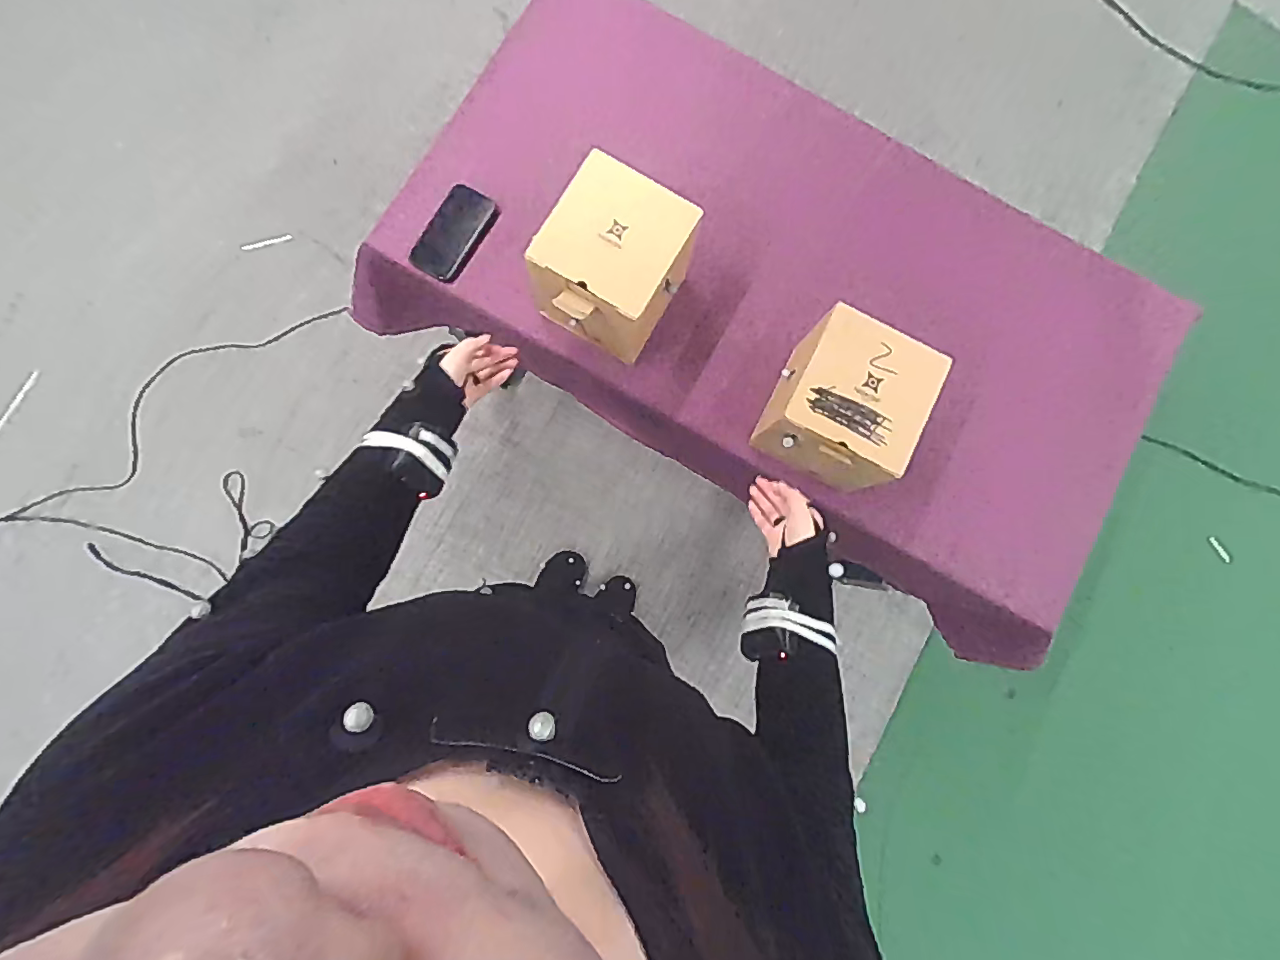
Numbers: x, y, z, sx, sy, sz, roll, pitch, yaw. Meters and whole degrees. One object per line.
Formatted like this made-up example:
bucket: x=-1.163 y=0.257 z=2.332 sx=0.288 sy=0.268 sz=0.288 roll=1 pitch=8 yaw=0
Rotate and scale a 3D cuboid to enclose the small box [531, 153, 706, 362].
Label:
small box: x=-0.033 y=-0.299 z=0.763 sx=0.168 sy=0.176 sz=0.179 roll=31 pitch=83 yaw=-1
